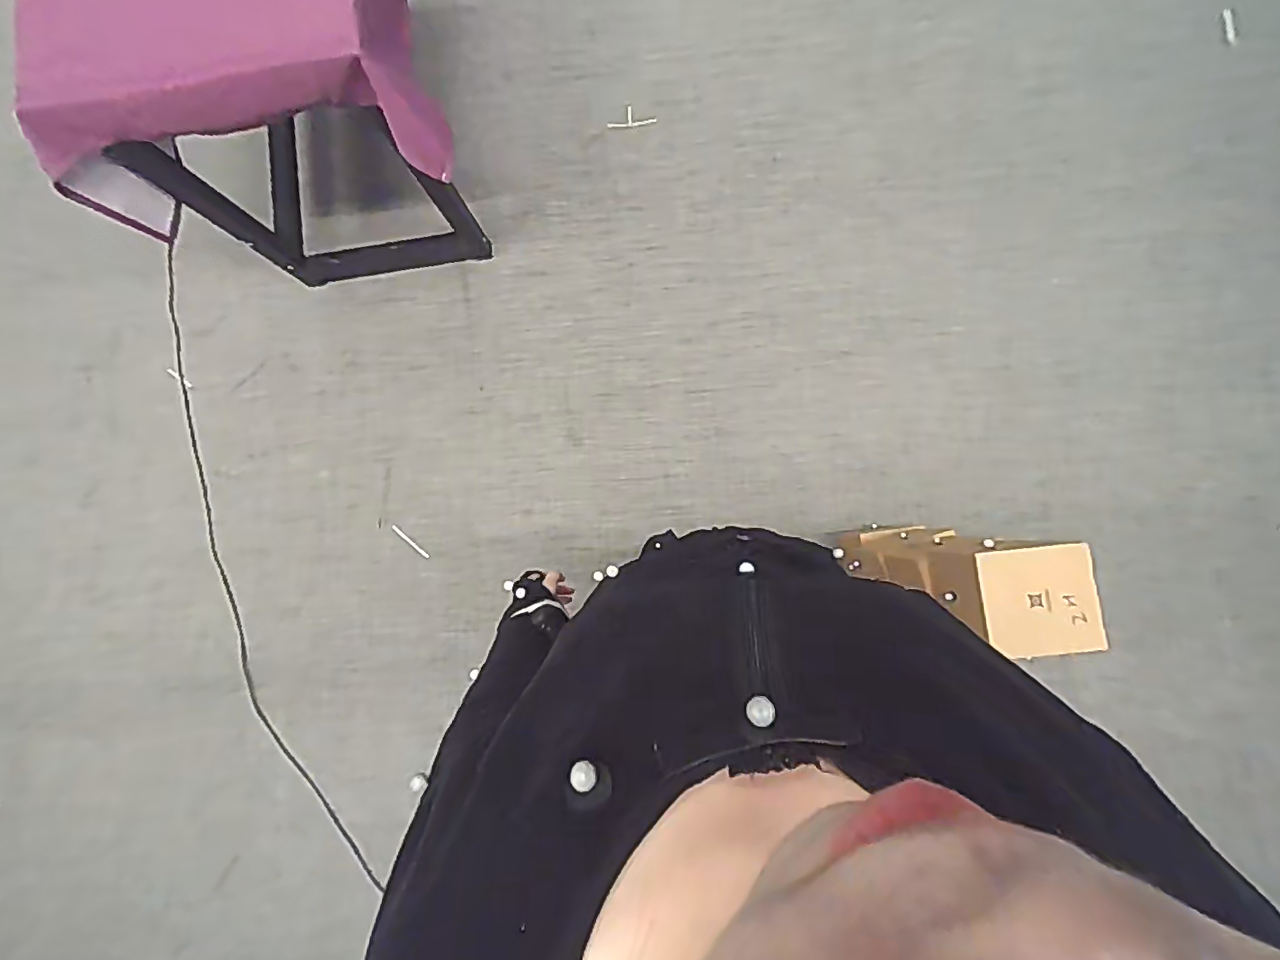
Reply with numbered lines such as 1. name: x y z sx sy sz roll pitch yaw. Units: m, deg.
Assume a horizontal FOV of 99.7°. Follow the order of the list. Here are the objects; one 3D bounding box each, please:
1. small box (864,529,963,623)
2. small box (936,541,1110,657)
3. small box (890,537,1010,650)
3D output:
1. small box: 0.634 0.215 1.234 0.179 0.176 0.168 -17 84 1
2. small box: 0.623 0.192 0.908 0.179 0.176 0.168 -6 85 4
3. small box: 0.627 0.215 1.071 0.168 0.176 0.179 -14 84 3
